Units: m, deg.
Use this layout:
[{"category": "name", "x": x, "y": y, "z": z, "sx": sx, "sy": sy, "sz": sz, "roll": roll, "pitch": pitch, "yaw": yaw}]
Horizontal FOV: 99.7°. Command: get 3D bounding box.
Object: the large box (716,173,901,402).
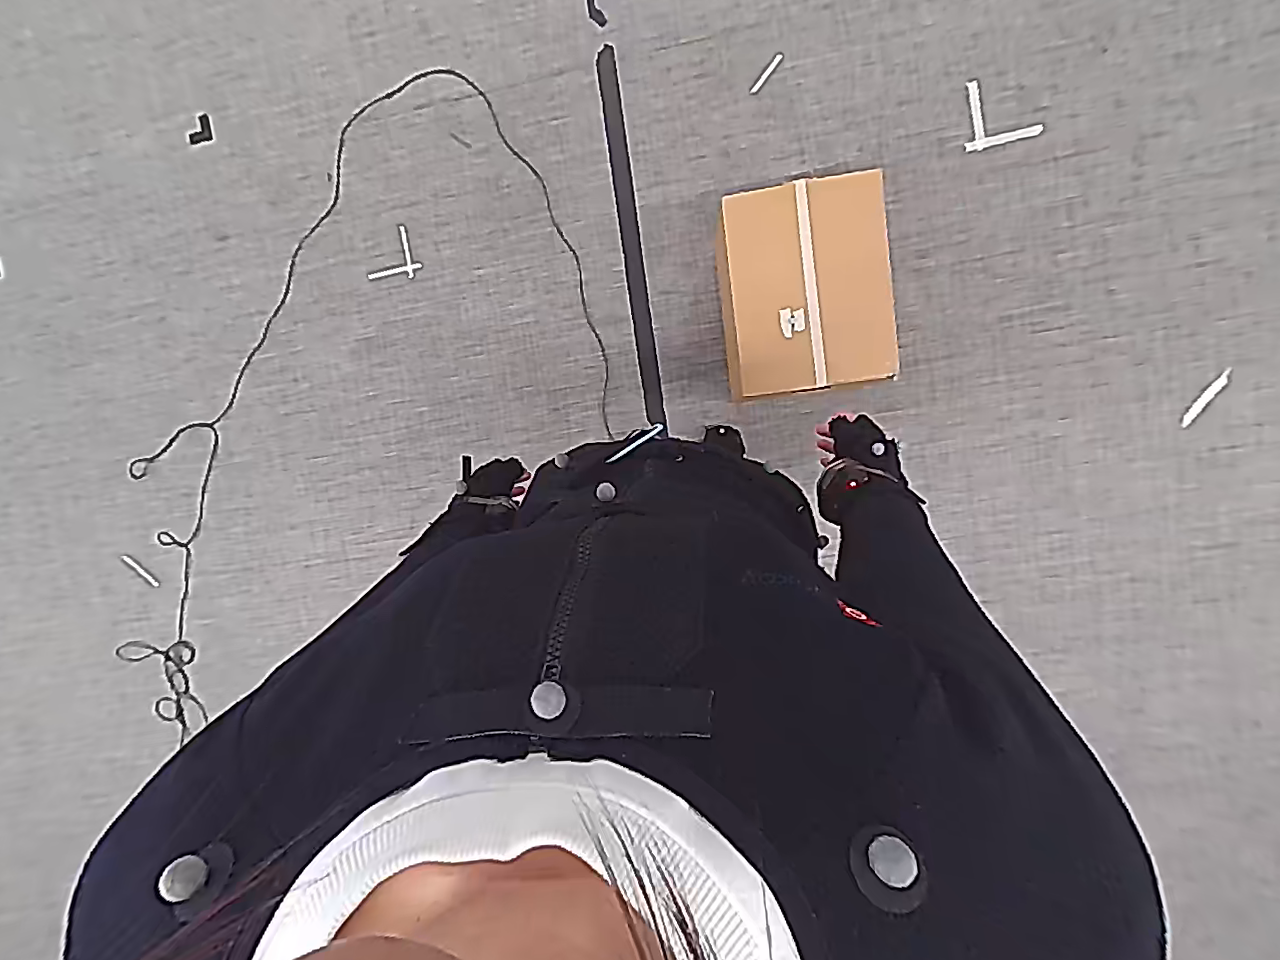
[{"category": "large box", "x": 0.360, "y": -0.402, "z": 1.234, "sx": 0.320, "sy": 0.320, "sz": 0.408, "roll": -8, "pitch": 95, "yaw": 7}]
